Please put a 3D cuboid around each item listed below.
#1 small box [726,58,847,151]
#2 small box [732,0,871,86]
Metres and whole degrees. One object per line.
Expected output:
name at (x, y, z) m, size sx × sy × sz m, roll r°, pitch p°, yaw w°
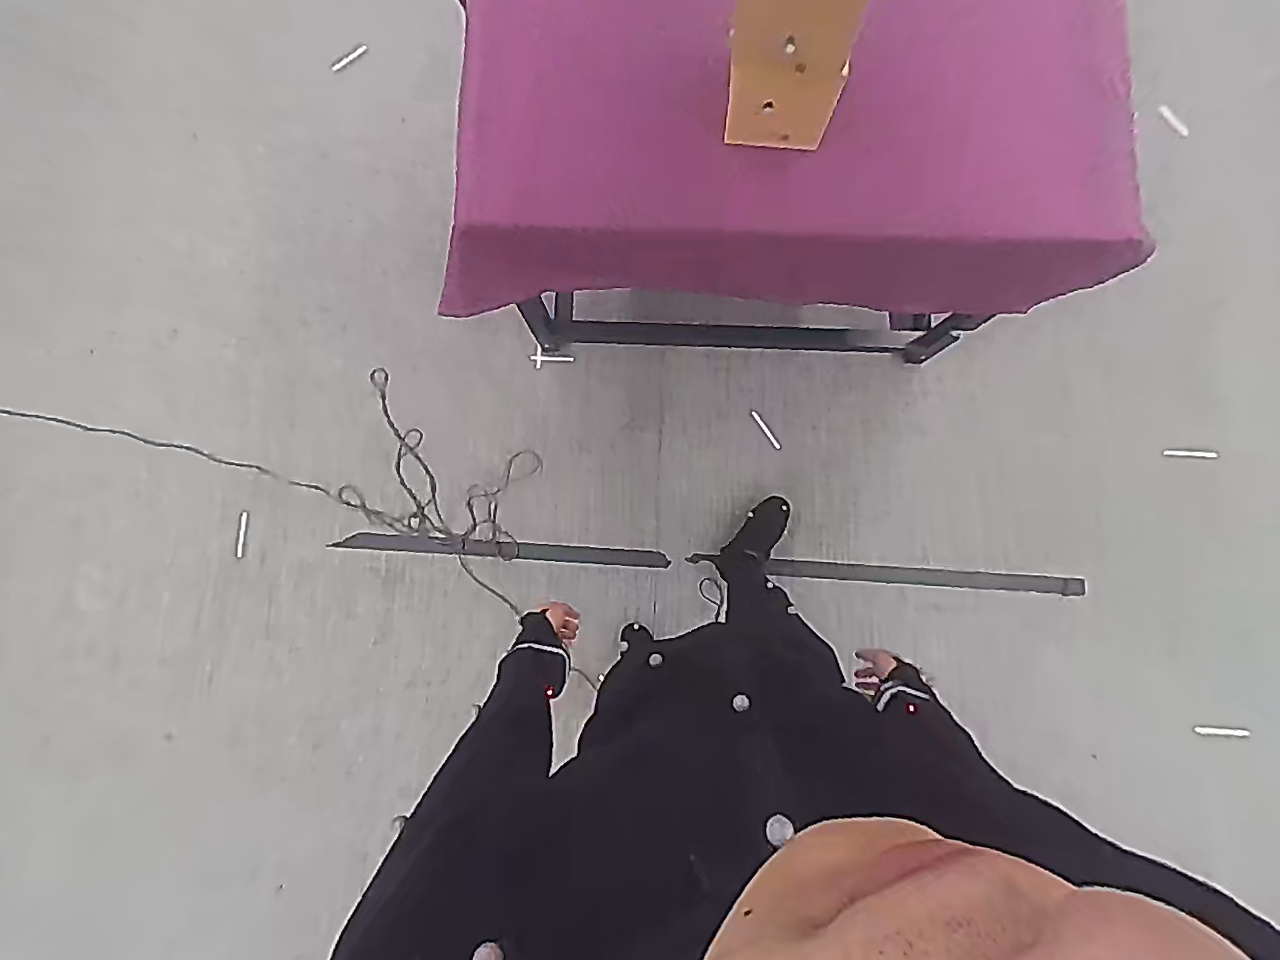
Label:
small box at (0.240, -0.687, 0.902) m, size 0.168 × 0.176 × 0.179 m, roll 6°, pitch 83°, yaw 2°
small box at (0.230, -0.695, 0.737) m, size 0.168 × 0.176 × 0.179 m, roll 13°, pitch 84°, yaw 3°
